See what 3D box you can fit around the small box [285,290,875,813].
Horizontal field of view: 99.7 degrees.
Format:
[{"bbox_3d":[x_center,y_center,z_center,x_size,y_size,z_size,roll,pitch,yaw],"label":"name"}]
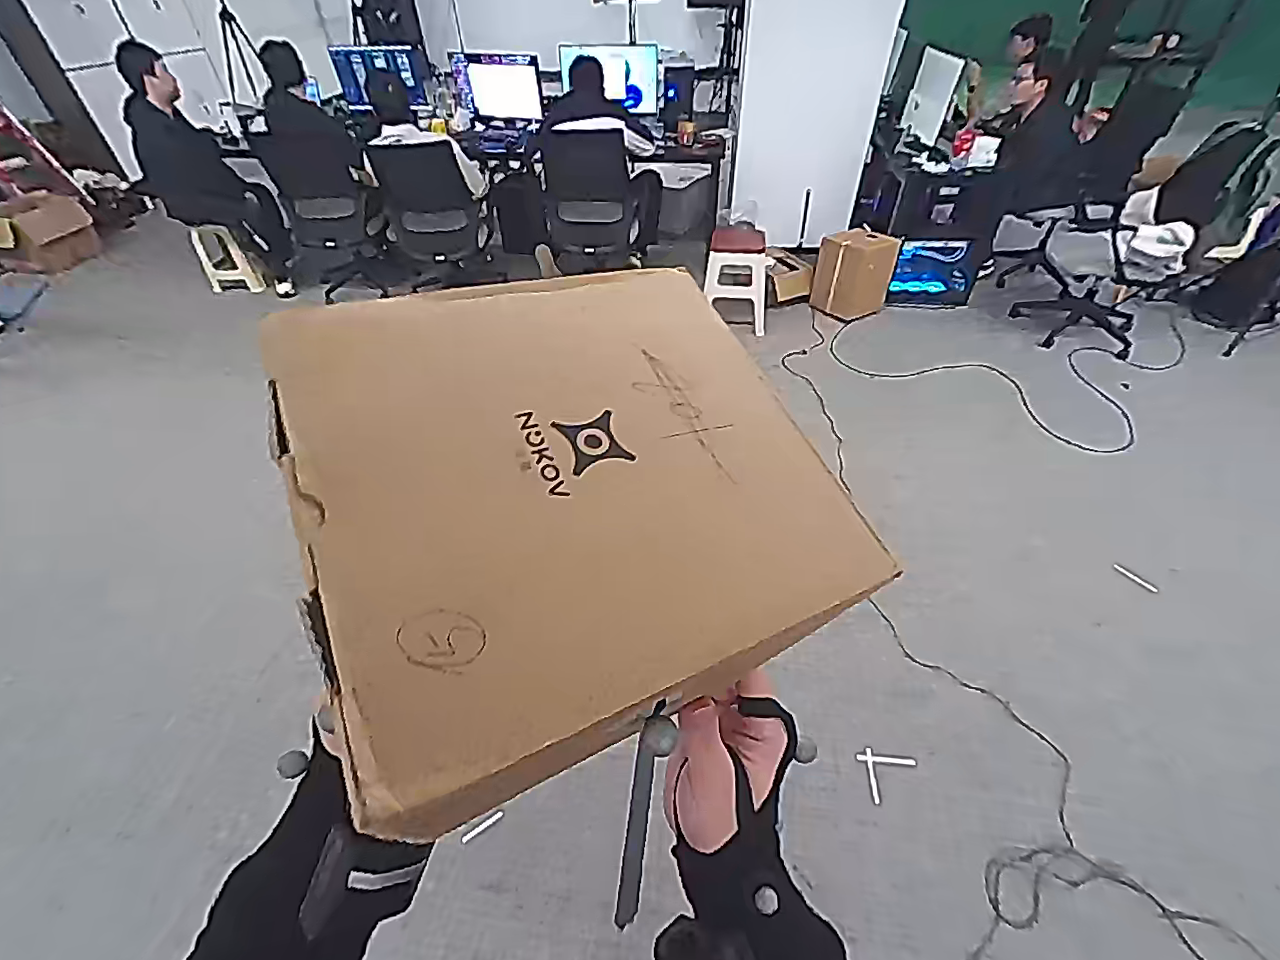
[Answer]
[{"bbox_3d":[-0.037,0.037,0.264,0.179,0.176,0.168,-17,64,-25],"label":"small box"}]
